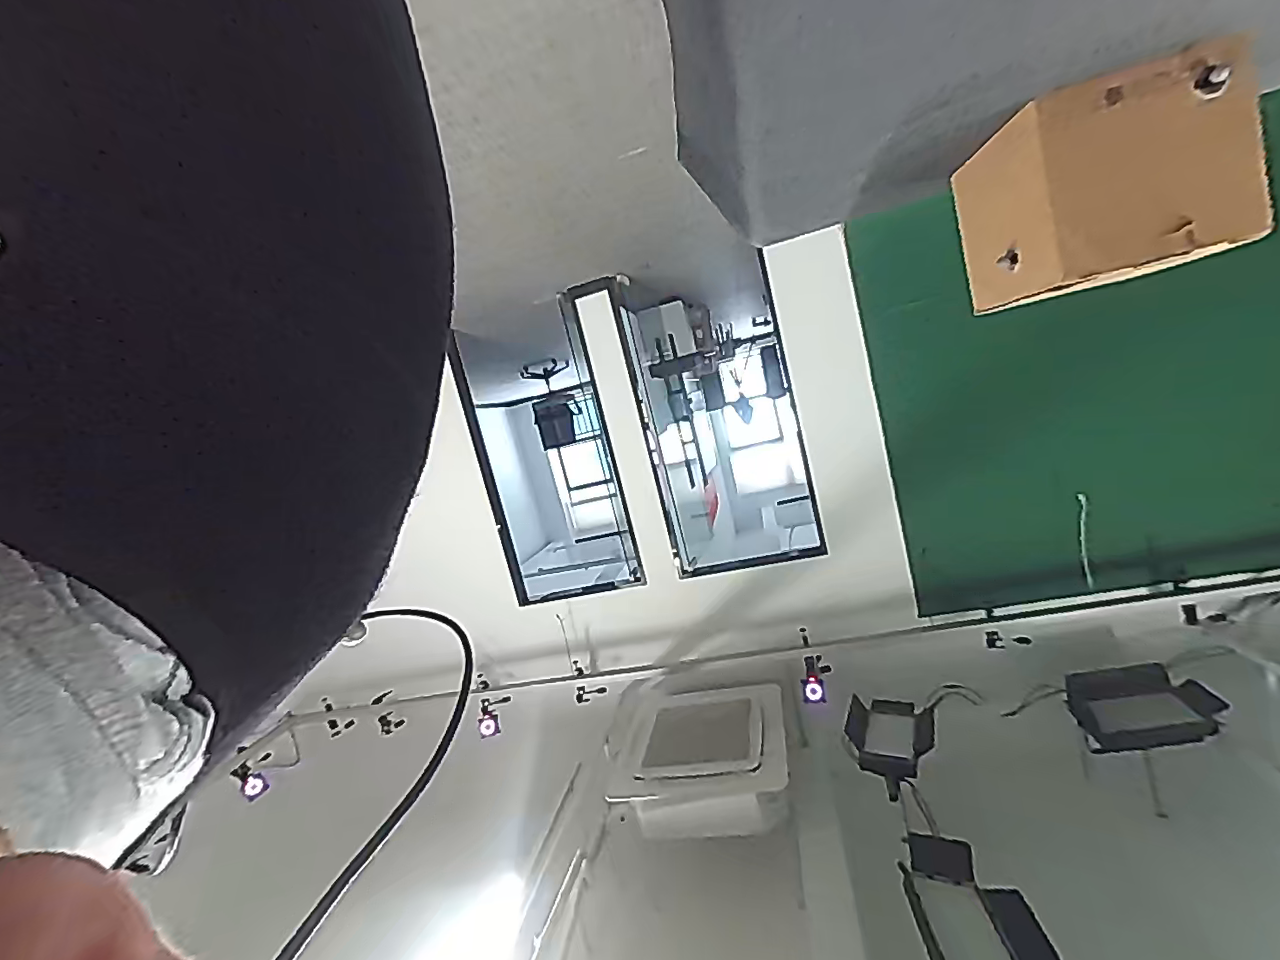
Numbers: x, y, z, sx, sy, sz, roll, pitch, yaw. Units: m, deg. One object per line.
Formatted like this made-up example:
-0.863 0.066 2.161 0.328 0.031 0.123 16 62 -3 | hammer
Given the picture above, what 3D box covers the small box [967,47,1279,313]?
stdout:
0.457 -0.285 0.540 0.168 0.176 0.179 -13 -173 10 | small box
